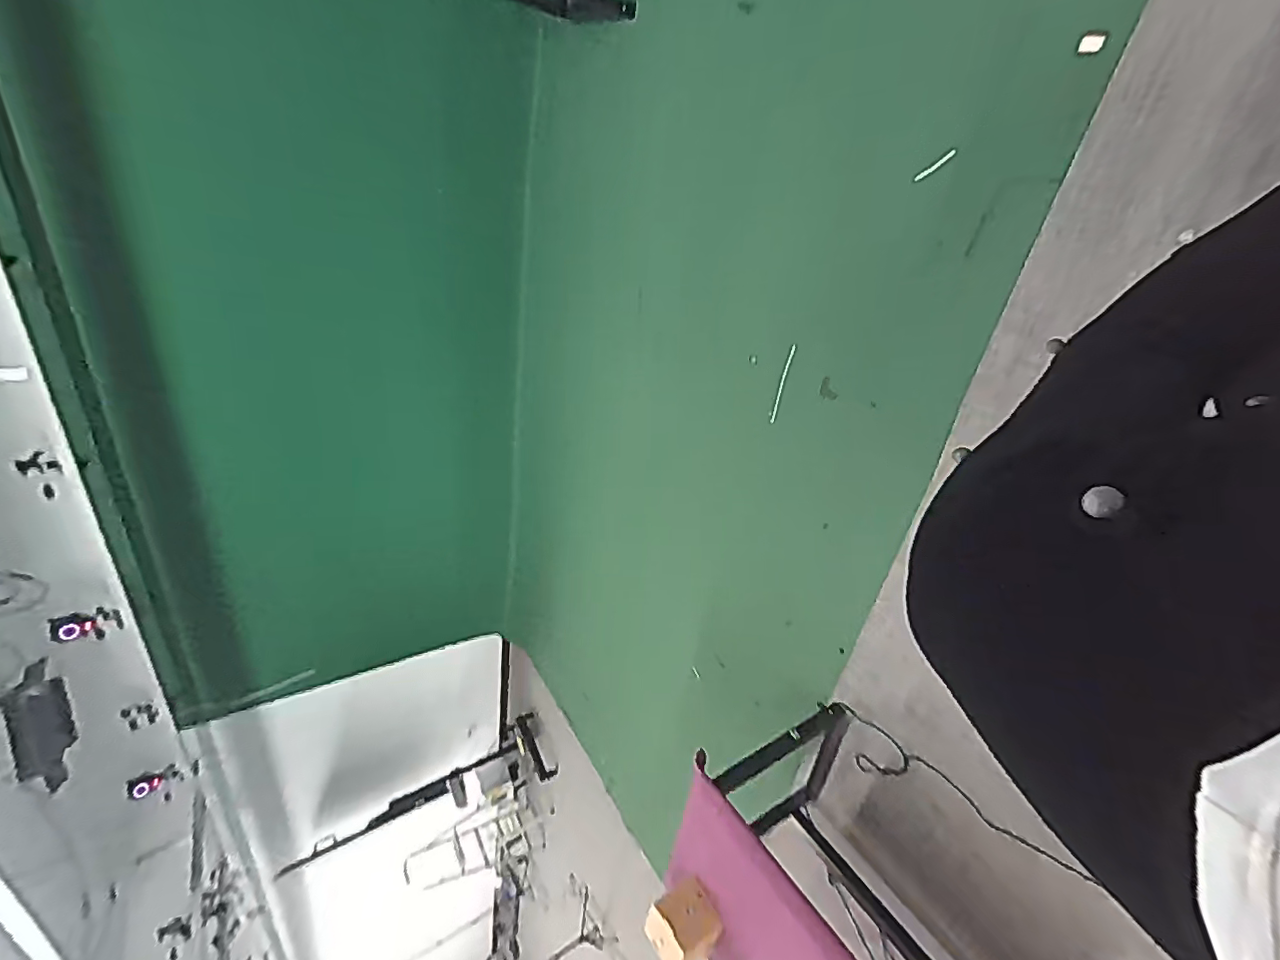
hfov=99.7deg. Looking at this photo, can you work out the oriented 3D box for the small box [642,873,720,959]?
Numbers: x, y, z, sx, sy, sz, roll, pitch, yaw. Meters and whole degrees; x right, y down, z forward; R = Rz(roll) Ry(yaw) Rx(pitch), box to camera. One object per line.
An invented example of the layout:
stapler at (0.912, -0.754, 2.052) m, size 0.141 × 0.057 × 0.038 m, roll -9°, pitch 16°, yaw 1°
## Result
small box at (0.135, 1.435, 1.758) m, size 0.168 × 0.176 × 0.179 m, roll 40°, pitch 127°, yaw 43°
